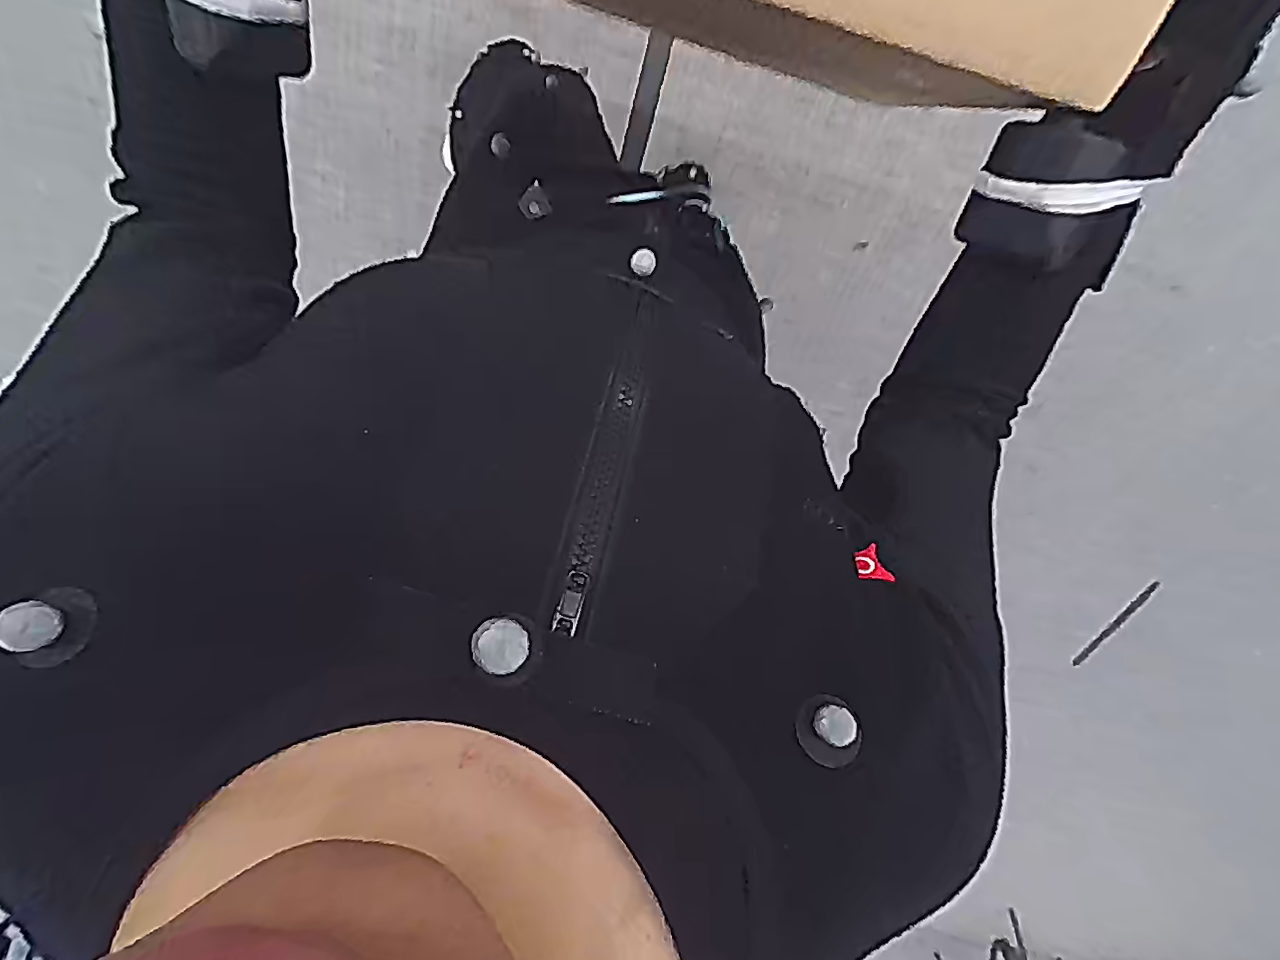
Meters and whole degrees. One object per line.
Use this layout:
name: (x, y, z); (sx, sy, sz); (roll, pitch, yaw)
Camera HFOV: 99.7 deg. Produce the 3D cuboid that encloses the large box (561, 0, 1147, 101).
large box: (0.065, -0.429, 0.275); (0.408, 0.320, 0.320); (14, 126, -6)
